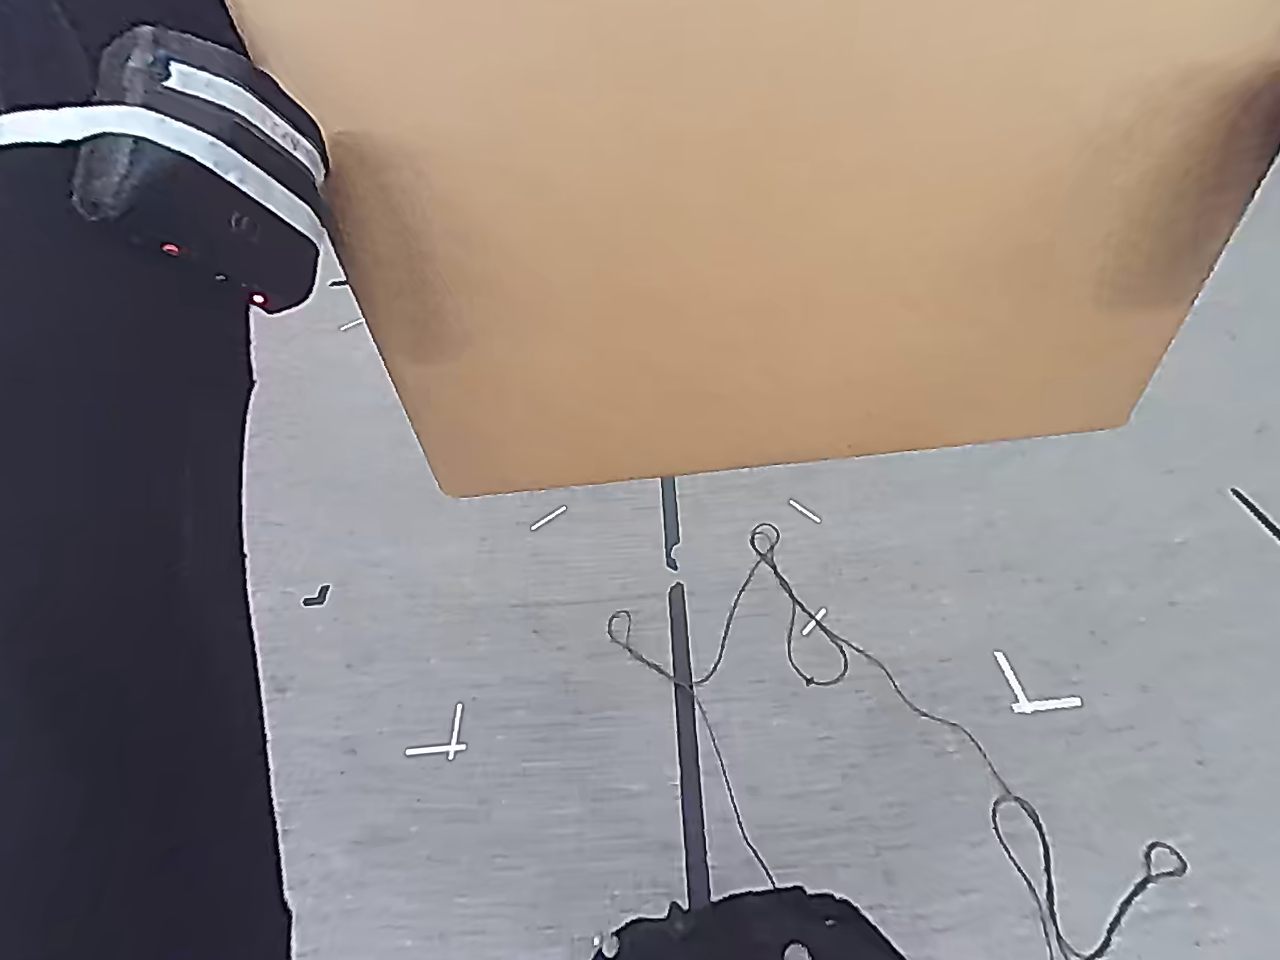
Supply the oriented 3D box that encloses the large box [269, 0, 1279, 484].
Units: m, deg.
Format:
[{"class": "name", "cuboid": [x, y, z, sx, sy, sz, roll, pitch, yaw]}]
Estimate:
[{"class": "large box", "cuboid": [0.057, -0.224, 0.352, 0.408, 0.320, 0.320, -6, 40, 0]}]
